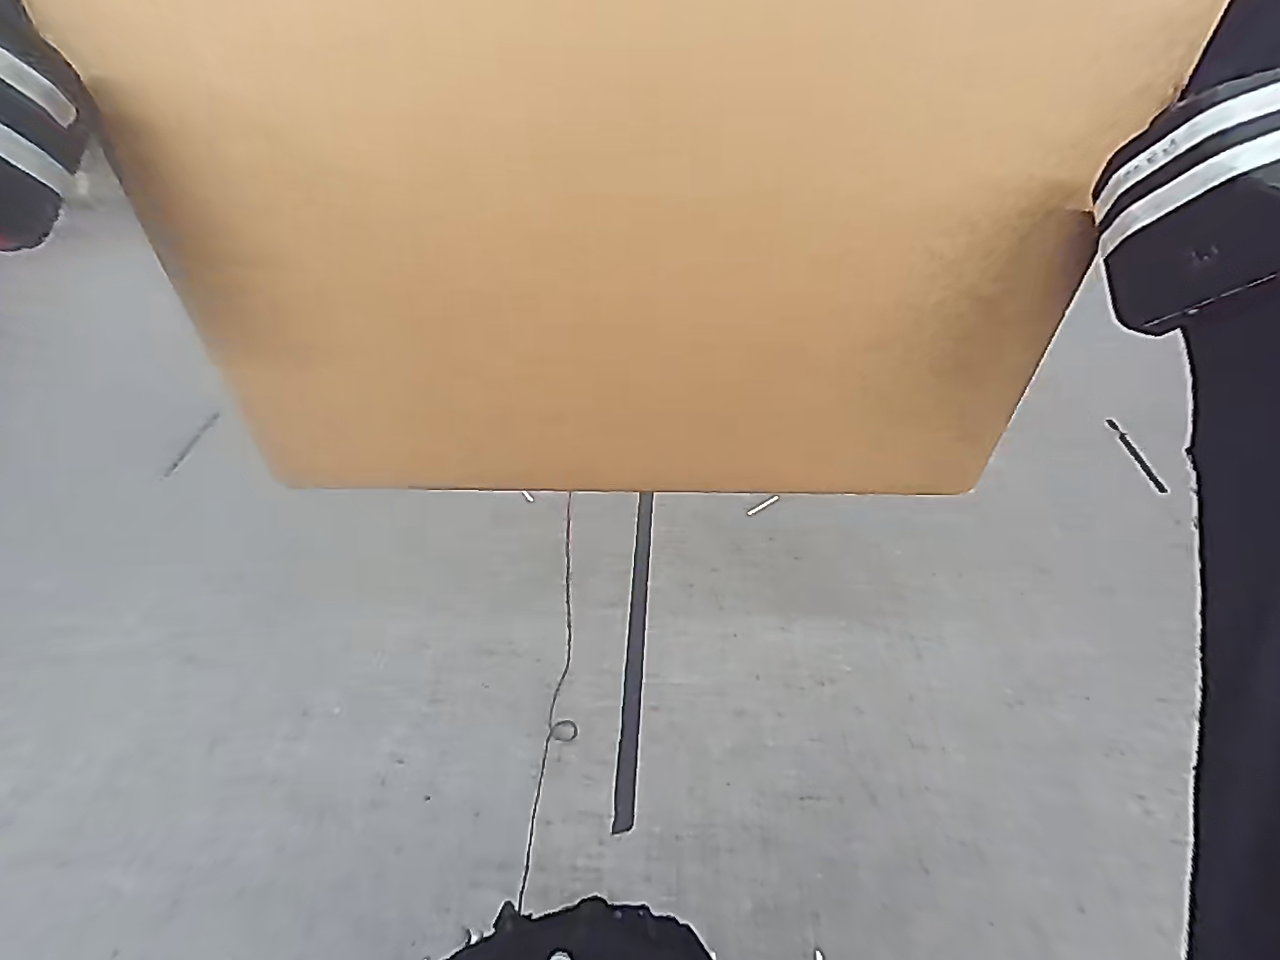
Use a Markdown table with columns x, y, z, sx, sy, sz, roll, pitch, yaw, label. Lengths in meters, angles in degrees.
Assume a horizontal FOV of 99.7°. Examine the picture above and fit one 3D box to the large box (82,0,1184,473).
| x | y | z | sx | sy | sz | roll | pitch | yaw | label |
| --- | --- | --- | --- | --- | --- | --- | --- | --- | --- |
| -0.005 | -0.213 | 0.344 | 0.408 | 0.320 | 0.320 | 1 | 39 | -1 | large box |
